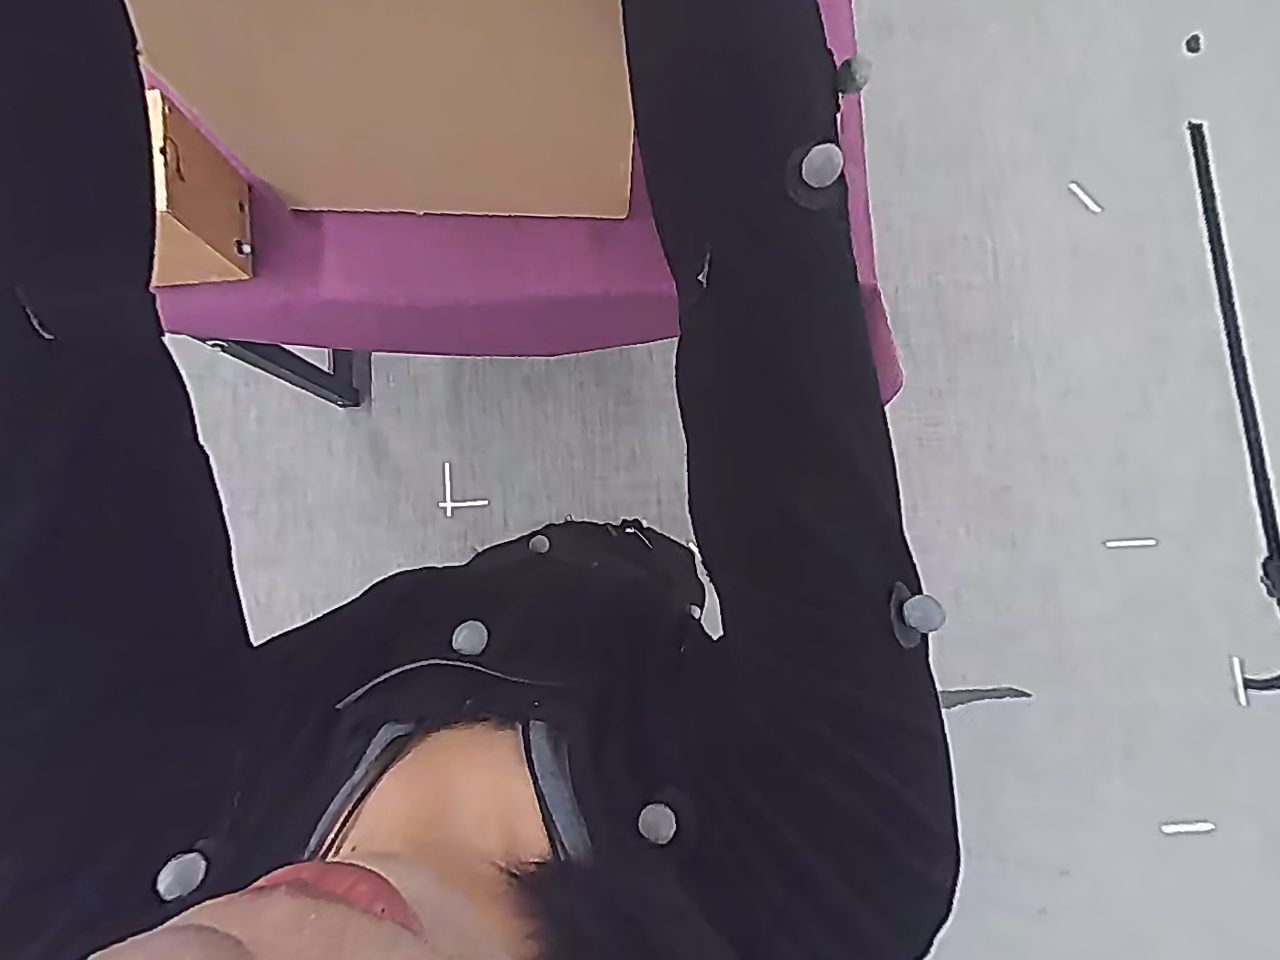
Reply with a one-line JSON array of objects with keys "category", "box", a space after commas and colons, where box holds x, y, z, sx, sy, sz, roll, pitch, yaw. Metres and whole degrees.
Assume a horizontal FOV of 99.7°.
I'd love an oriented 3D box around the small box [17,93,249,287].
[{"category": "small box", "box": [-0.668, -0.383, 0.736, 0.179, 0.176, 0.168, -7, 82, -5]}]
